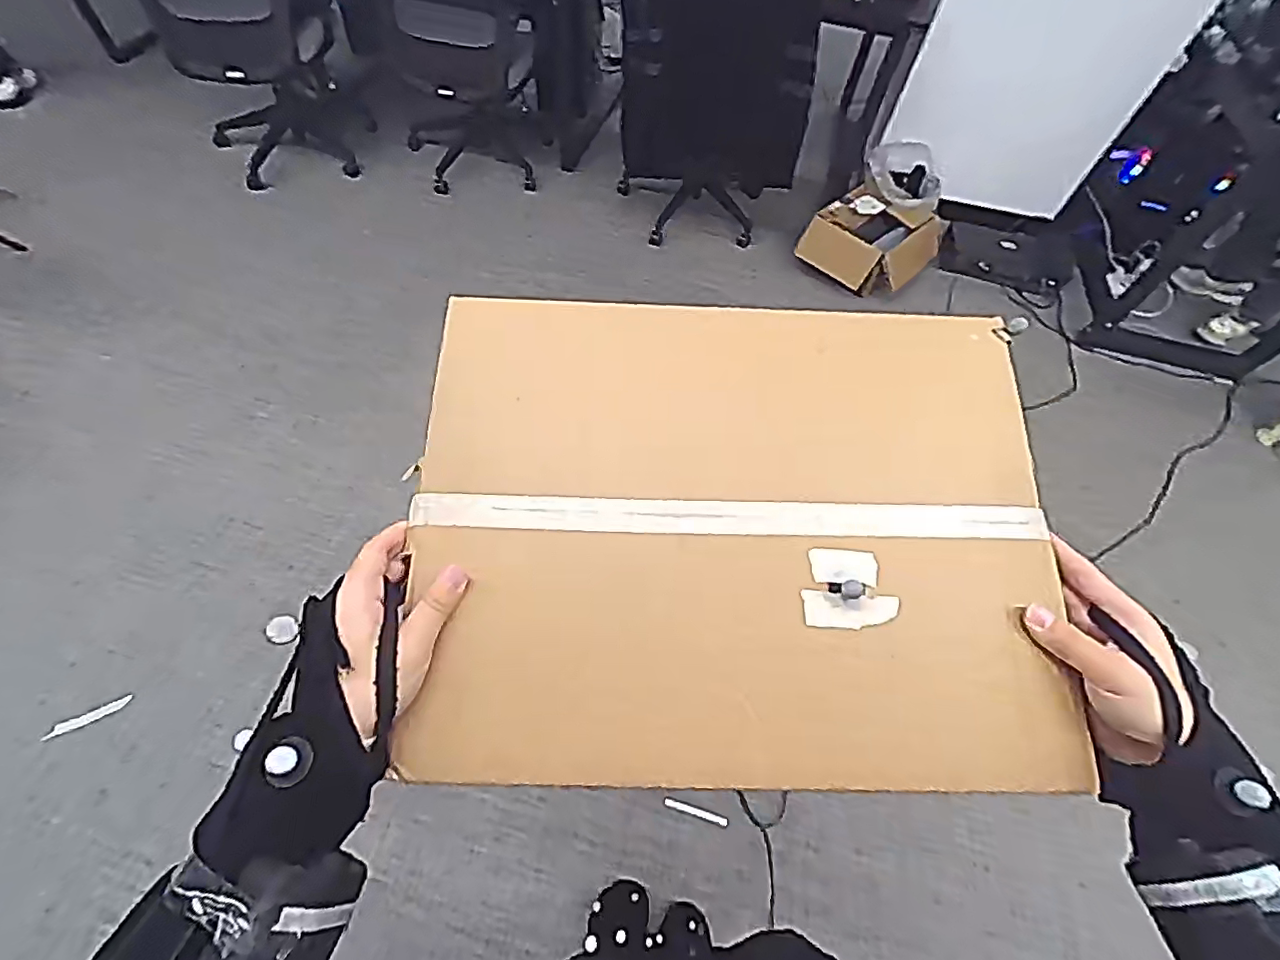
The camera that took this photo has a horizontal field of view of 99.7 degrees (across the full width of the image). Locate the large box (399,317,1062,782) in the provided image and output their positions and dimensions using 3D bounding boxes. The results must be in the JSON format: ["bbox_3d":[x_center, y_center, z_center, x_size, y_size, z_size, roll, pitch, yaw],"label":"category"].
[{"bbox_3d":[0.050,0.072,0.503,0.408,0.320,0.320,1,73,-2],"label":"large box"}]
